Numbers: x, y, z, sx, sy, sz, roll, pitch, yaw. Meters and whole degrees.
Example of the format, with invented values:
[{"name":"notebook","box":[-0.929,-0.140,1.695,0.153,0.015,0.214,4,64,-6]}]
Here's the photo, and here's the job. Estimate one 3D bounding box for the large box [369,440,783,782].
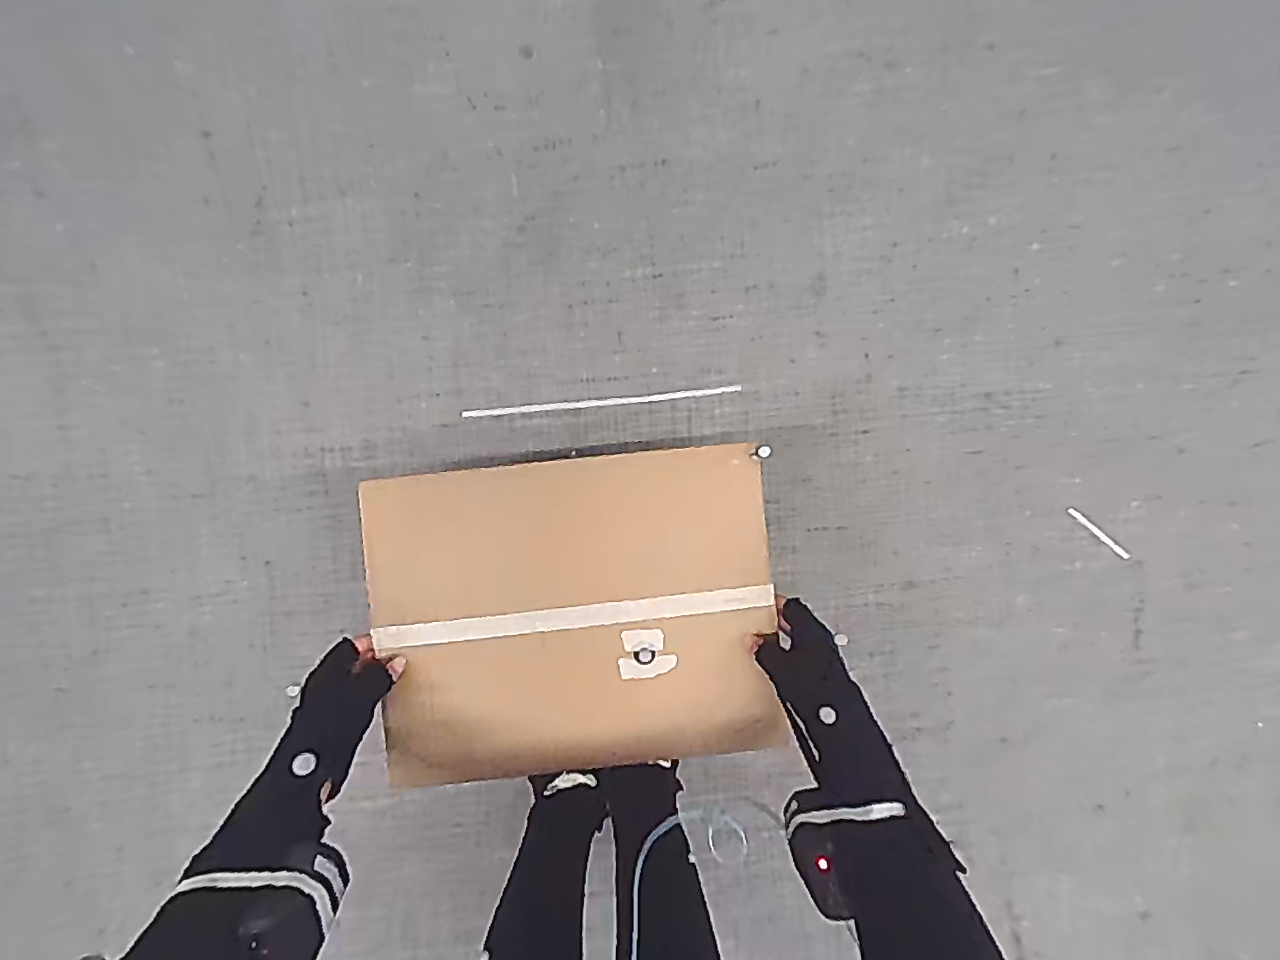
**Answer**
[{"name":"large box","box":[-0.070,0.135,0.705,0.408,0.320,0.320,-6,91,-2]}]
